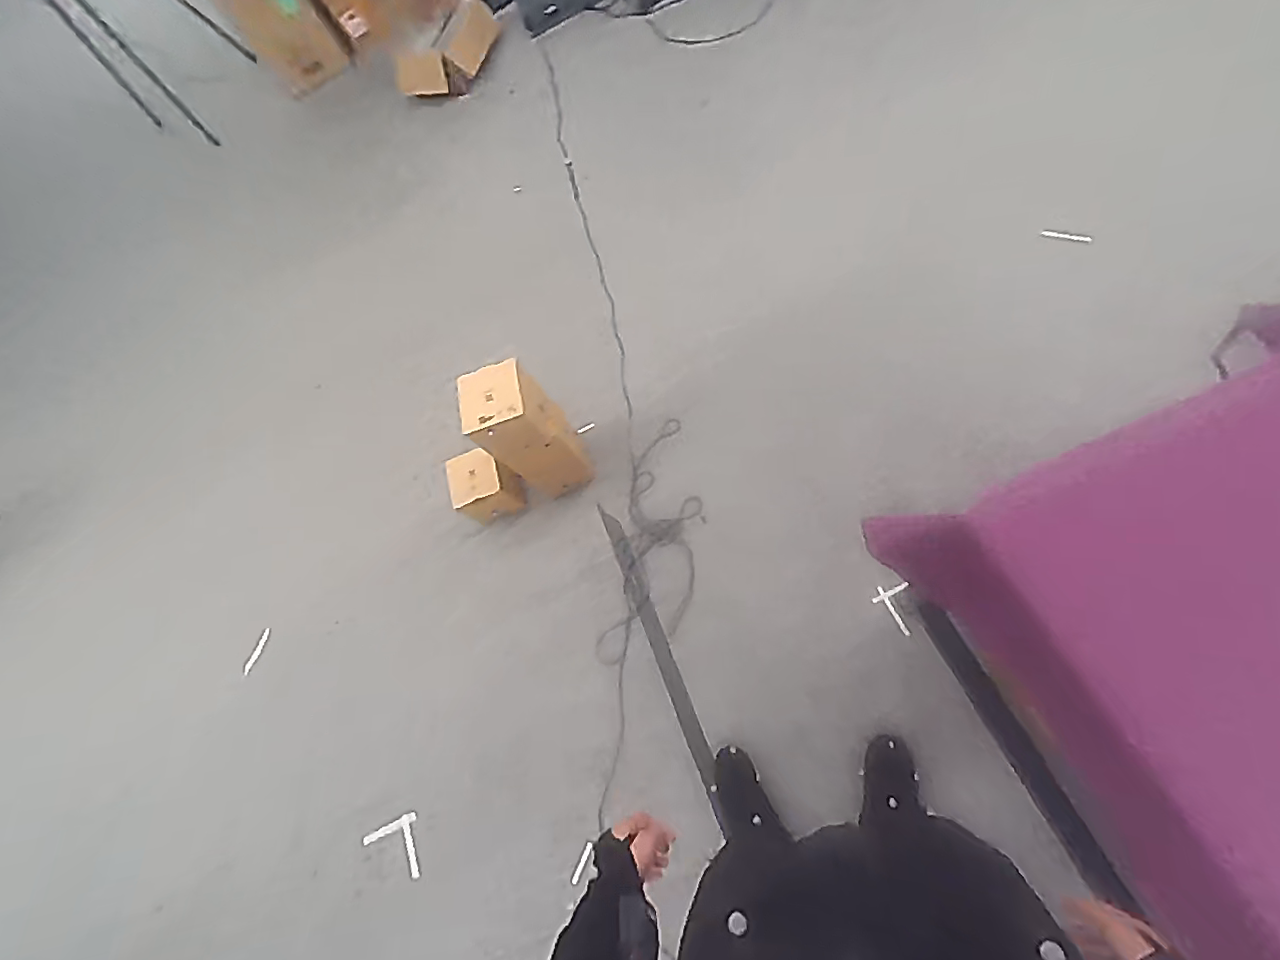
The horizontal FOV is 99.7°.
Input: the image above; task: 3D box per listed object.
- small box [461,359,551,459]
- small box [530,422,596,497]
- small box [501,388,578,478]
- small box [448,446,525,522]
[{"bbox_3d":[-0.348,-0.181,1.417,0.168,0.176,0.179,-18,65,9],"label":"small box"},{"bbox_3d":[-0.262,-0.073,1.713,0.168,0.176,0.179,-26,66,6],"label":"small box"},{"bbox_3d":[-0.303,-0.128,1.566,0.179,0.176,0.168,-24,65,6],"label":"small box"},{"bbox_3d":[-0.491,0.013,1.744,0.168,0.176,0.179,-22,66,8],"label":"small box"}]
